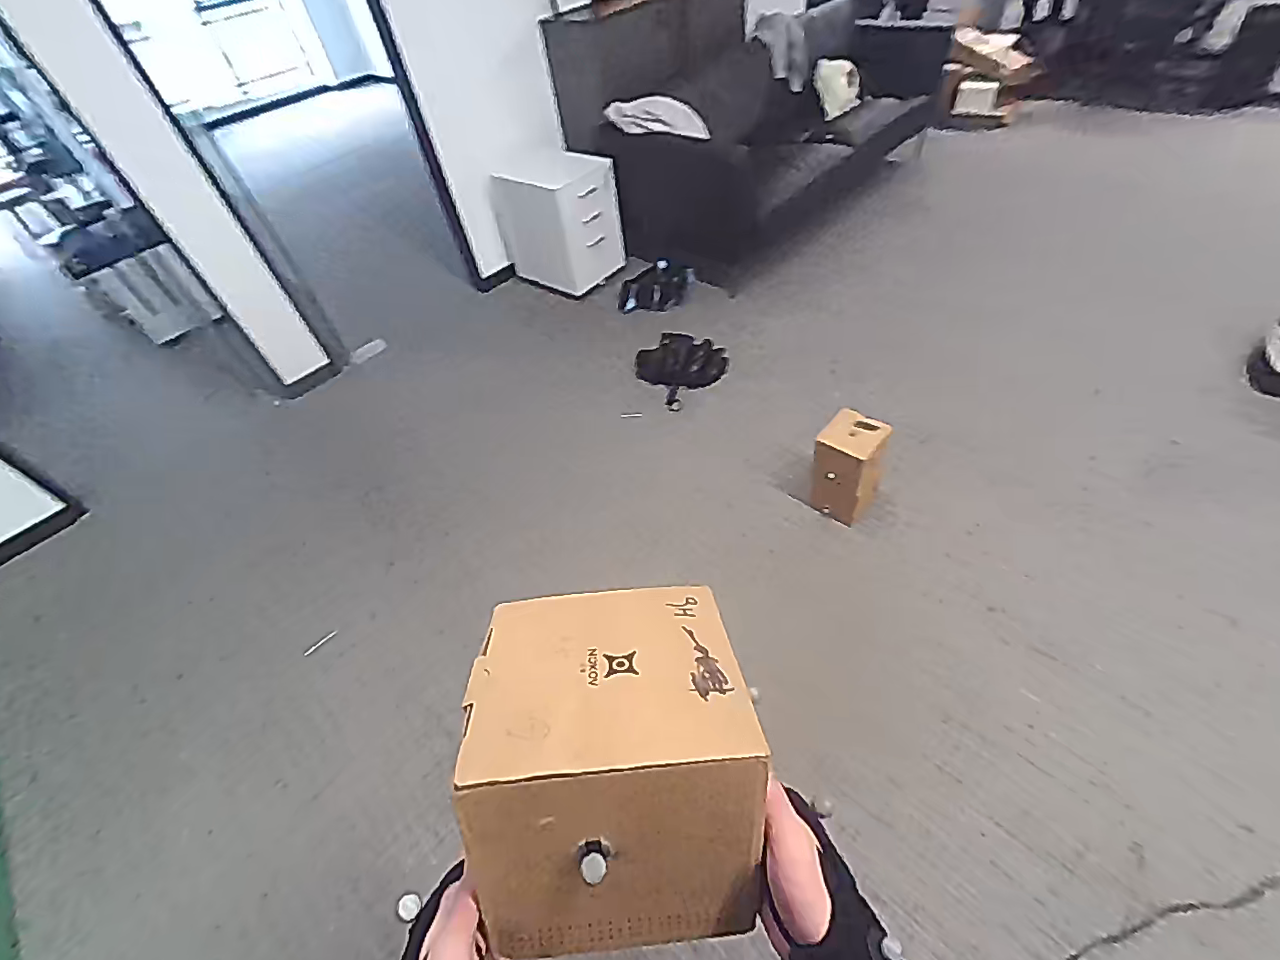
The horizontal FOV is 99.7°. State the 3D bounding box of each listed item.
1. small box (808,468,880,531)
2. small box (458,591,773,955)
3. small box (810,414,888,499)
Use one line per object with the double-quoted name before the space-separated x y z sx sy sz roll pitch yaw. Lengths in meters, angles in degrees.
"small box" 0.690 0.038 1.849 0.168 0.176 0.179 29 60 32
"small box" -0.014 0.202 0.394 0.179 0.176 0.168 -3 24 -4
"small box" 0.660 -0.074 1.731 0.168 0.176 0.179 31 60 32
